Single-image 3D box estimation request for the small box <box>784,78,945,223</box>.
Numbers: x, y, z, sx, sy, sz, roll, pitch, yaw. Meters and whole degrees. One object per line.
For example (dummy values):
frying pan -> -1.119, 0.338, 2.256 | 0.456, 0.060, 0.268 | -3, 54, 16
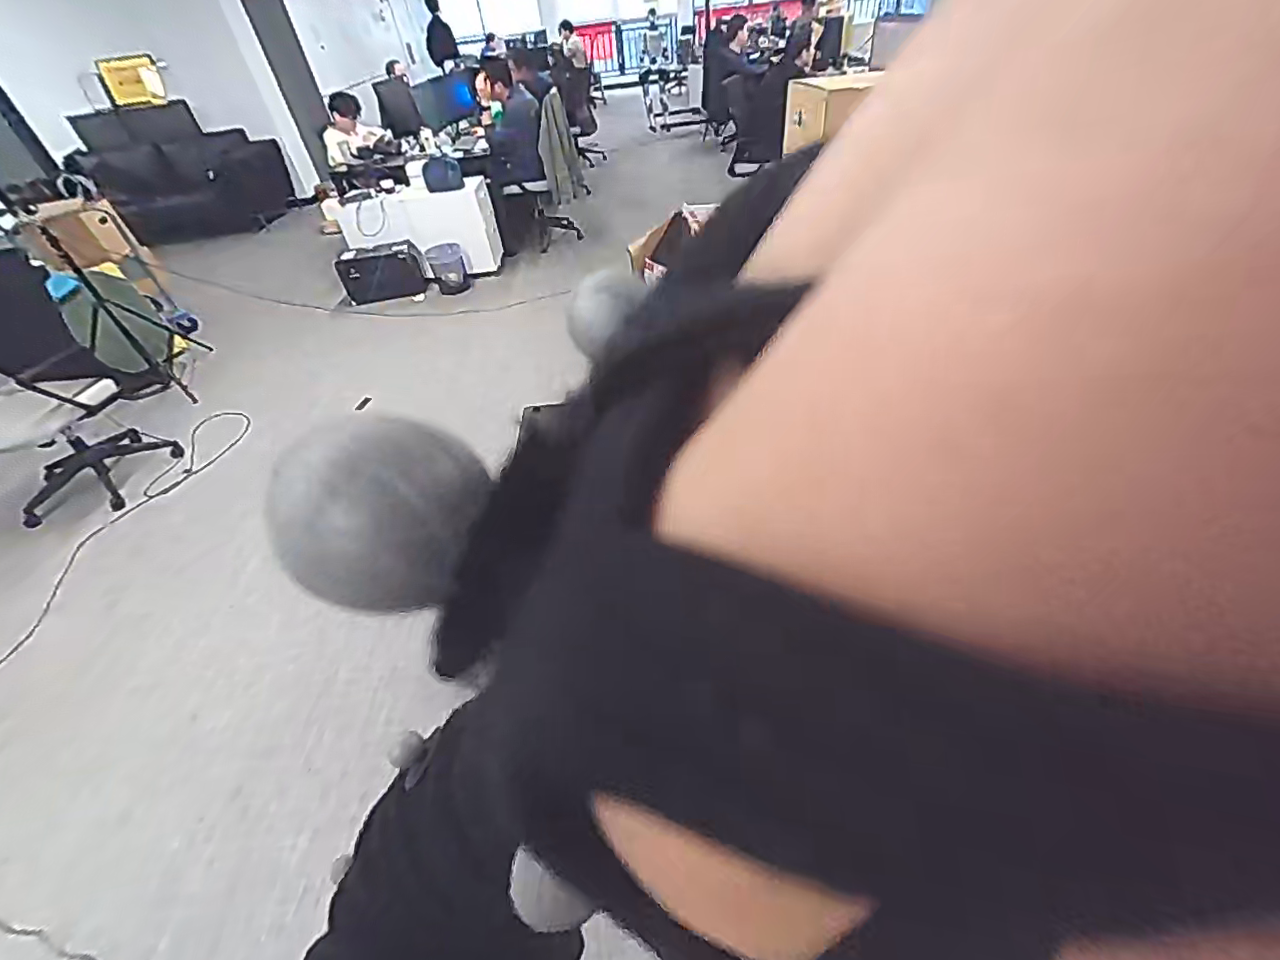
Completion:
small box -> 0.332, -0.515, 0.845 | 0.168, 0.176, 0.179 | -7, 40, -1
